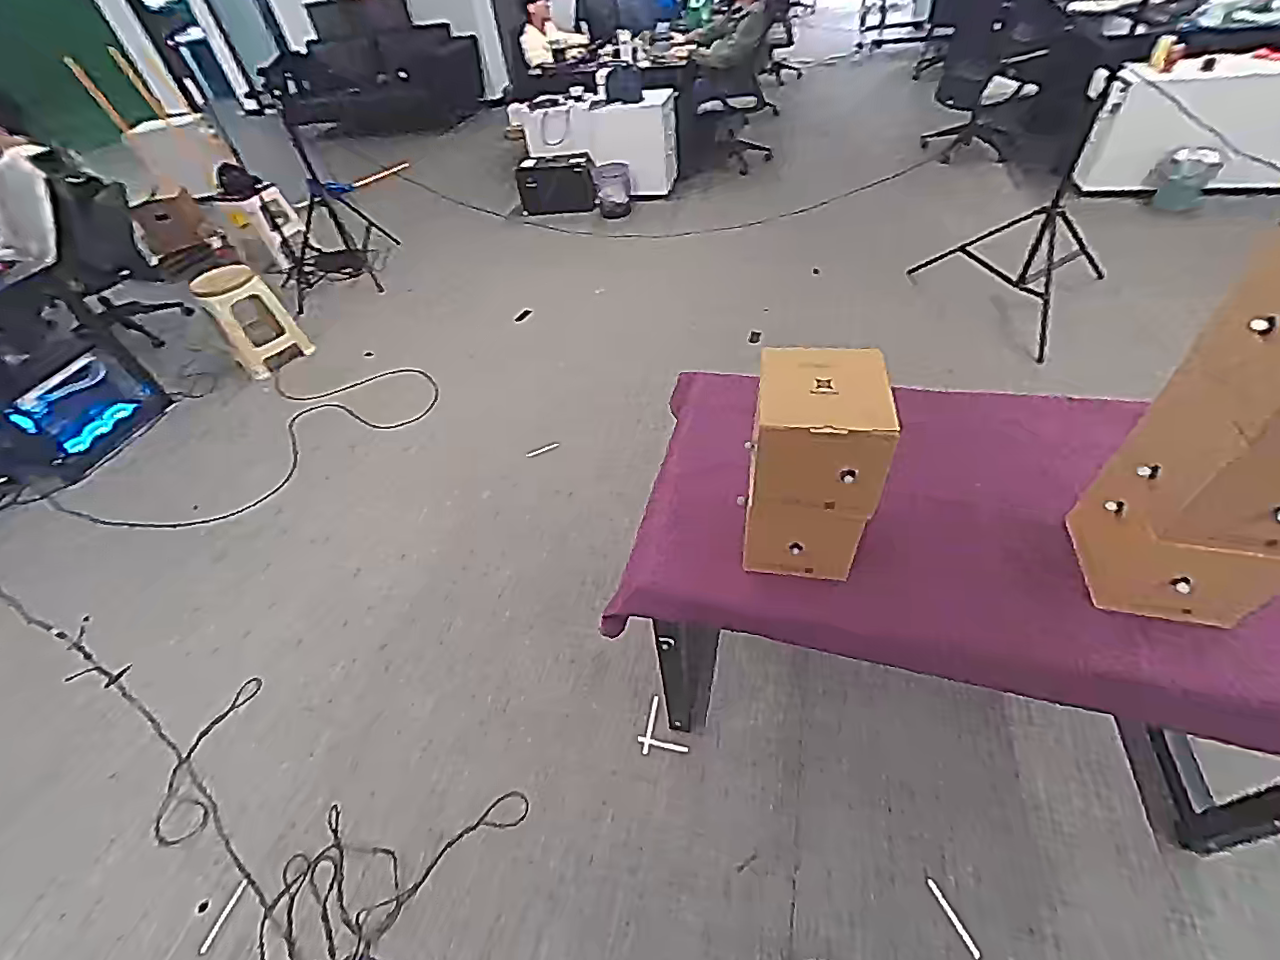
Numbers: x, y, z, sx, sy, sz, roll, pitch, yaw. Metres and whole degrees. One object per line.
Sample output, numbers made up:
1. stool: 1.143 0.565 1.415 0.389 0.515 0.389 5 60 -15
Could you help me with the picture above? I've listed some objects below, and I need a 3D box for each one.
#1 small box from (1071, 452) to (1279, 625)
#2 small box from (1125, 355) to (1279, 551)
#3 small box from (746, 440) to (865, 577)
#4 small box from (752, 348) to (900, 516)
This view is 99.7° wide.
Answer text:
1. small box: 0.770 0.085 0.781 0.168 0.176 0.179 7 48 14
2. small box: 0.756 -0.030 0.665 0.168 0.176 0.179 8 48 15
3. small box: 0.264 0.039 0.888 0.168 0.176 0.179 5 47 11
4. small box: 0.250 -0.067 0.765 0.168 0.176 0.179 4 46 9
